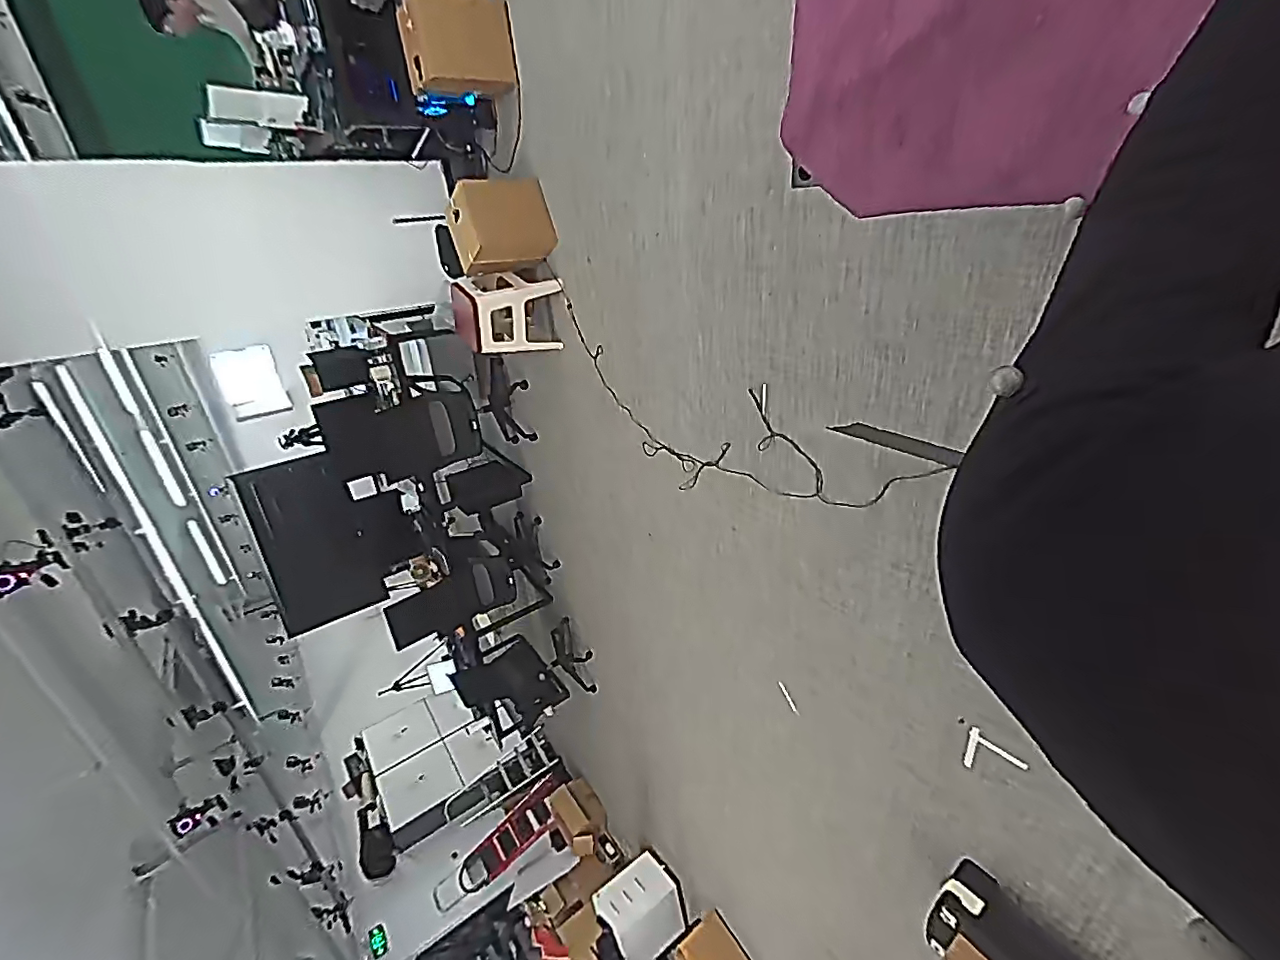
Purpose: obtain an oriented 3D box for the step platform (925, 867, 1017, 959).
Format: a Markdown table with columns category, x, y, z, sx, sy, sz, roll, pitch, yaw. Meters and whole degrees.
| category | x | y | z | sx | sy | sz | roll | pitch | yaw |
| --- | --- | --- | --- | --- | --- | --- | --- | --- | --- |
| step platform | 1.229 | 1.568 | 1.618 | 0.684 | 0.204 | 0.286 | 28 | 132 | 47 |
